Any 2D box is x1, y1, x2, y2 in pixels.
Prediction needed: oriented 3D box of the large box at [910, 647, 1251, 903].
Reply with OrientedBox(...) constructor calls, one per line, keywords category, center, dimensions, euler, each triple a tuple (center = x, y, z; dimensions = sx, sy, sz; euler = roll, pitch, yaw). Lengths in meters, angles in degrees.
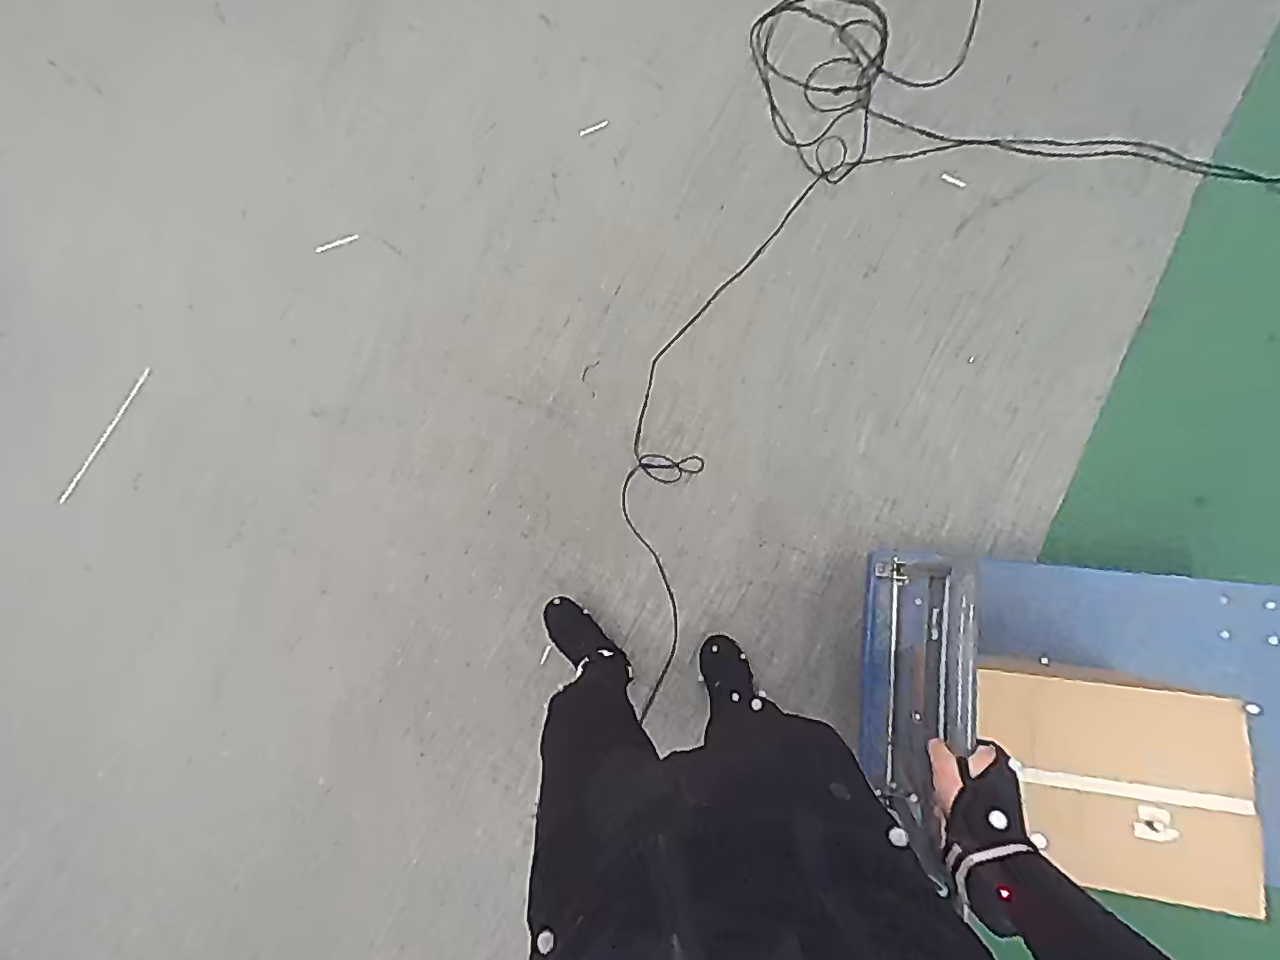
OrientedBox(category="large box", center=(0.765, 0.506, 1.020), dimensions=(0.408, 0.320, 0.320), euler=(4, 81, 12))
